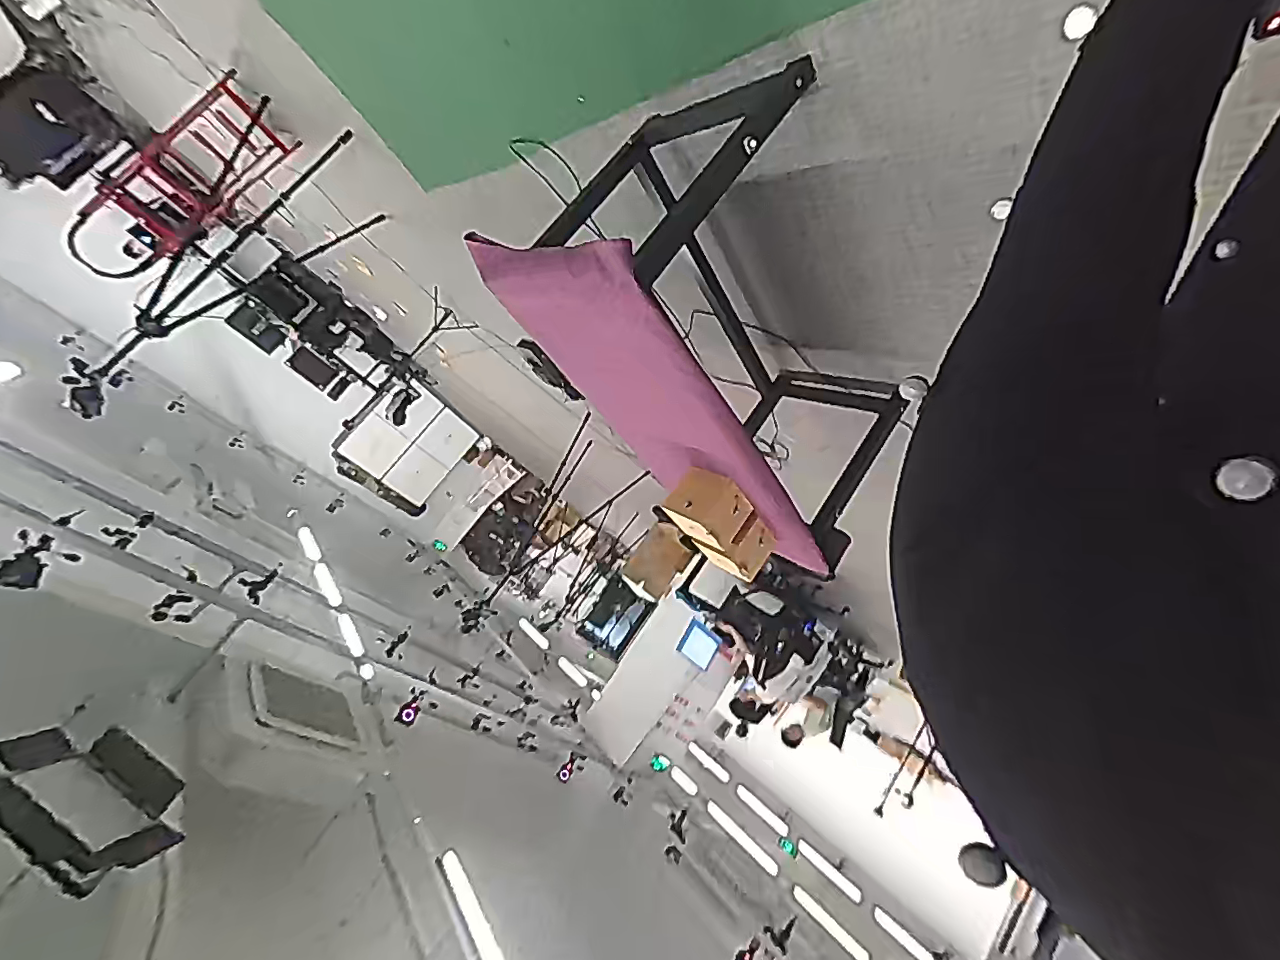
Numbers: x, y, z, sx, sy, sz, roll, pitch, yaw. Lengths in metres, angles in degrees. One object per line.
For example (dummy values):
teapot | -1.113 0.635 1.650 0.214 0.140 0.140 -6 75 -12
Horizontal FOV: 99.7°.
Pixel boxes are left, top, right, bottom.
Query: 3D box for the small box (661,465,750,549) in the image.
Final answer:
small box | 0.203 0.076 1.650 0.179 0.176 0.168 22 161 47

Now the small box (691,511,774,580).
small box | 0.309 0.195 1.782 0.179 0.176 0.168 22 161 48
